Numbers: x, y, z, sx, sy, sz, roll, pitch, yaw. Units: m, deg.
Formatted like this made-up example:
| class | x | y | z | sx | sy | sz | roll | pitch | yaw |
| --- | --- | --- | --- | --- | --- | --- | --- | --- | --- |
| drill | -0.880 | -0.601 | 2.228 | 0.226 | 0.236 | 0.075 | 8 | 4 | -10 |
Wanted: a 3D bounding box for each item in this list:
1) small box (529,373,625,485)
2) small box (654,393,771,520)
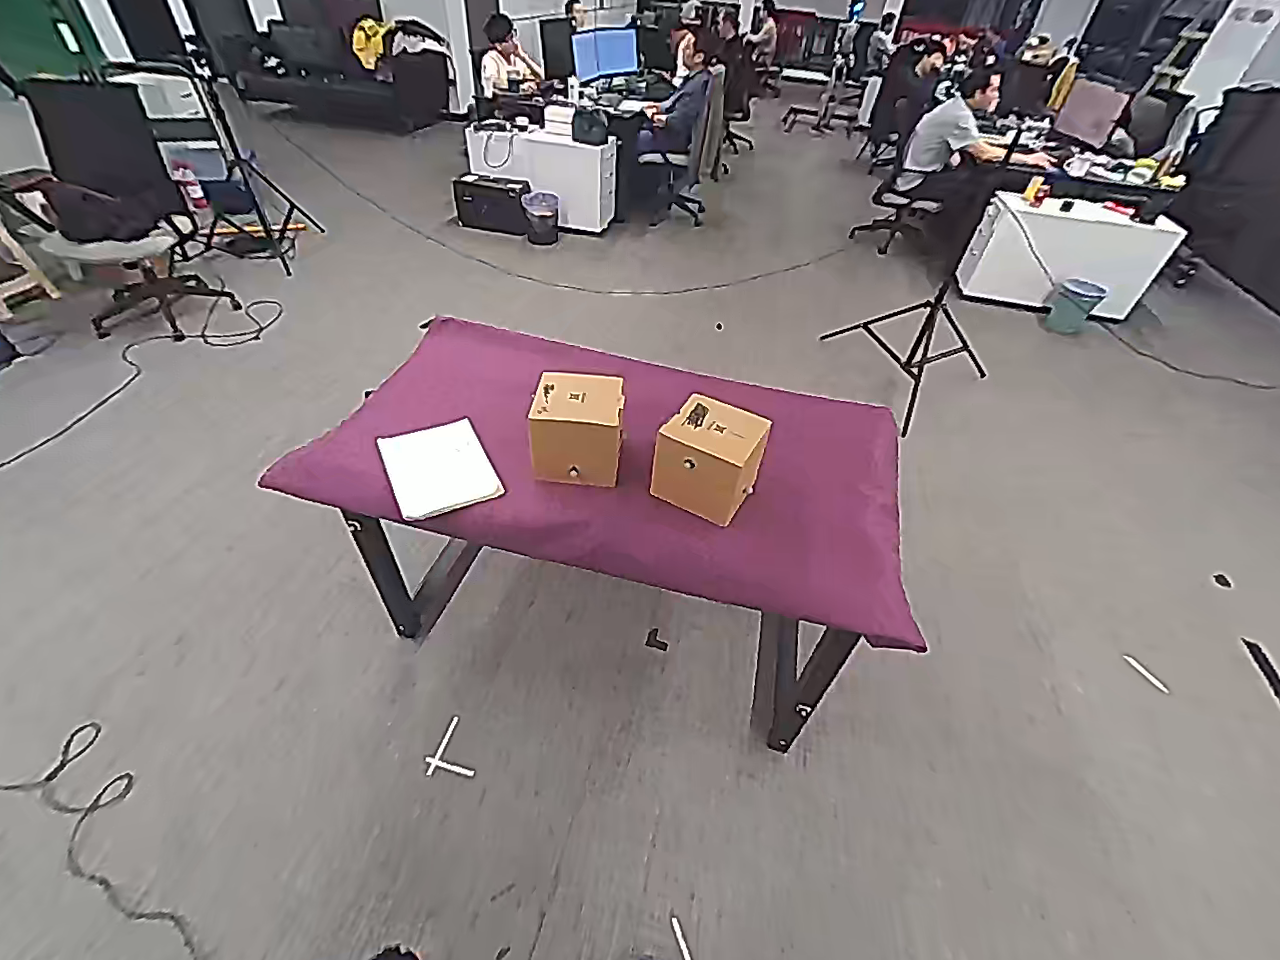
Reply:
| class | x | y | z | sx | sy | sz | roll | pitch | yaw |
| --- | --- | --- | --- | --- | --- | --- | --- | --- | --- |
| small box | -0.128 | -0.106 | 1.146 | 0.179 | 0.176 | 0.168 | 5 | 42 | 0 |
| small box | 0.141 | -0.046 | 1.103 | 0.179 | 0.176 | 0.168 | 24 | 46 | 19 |
